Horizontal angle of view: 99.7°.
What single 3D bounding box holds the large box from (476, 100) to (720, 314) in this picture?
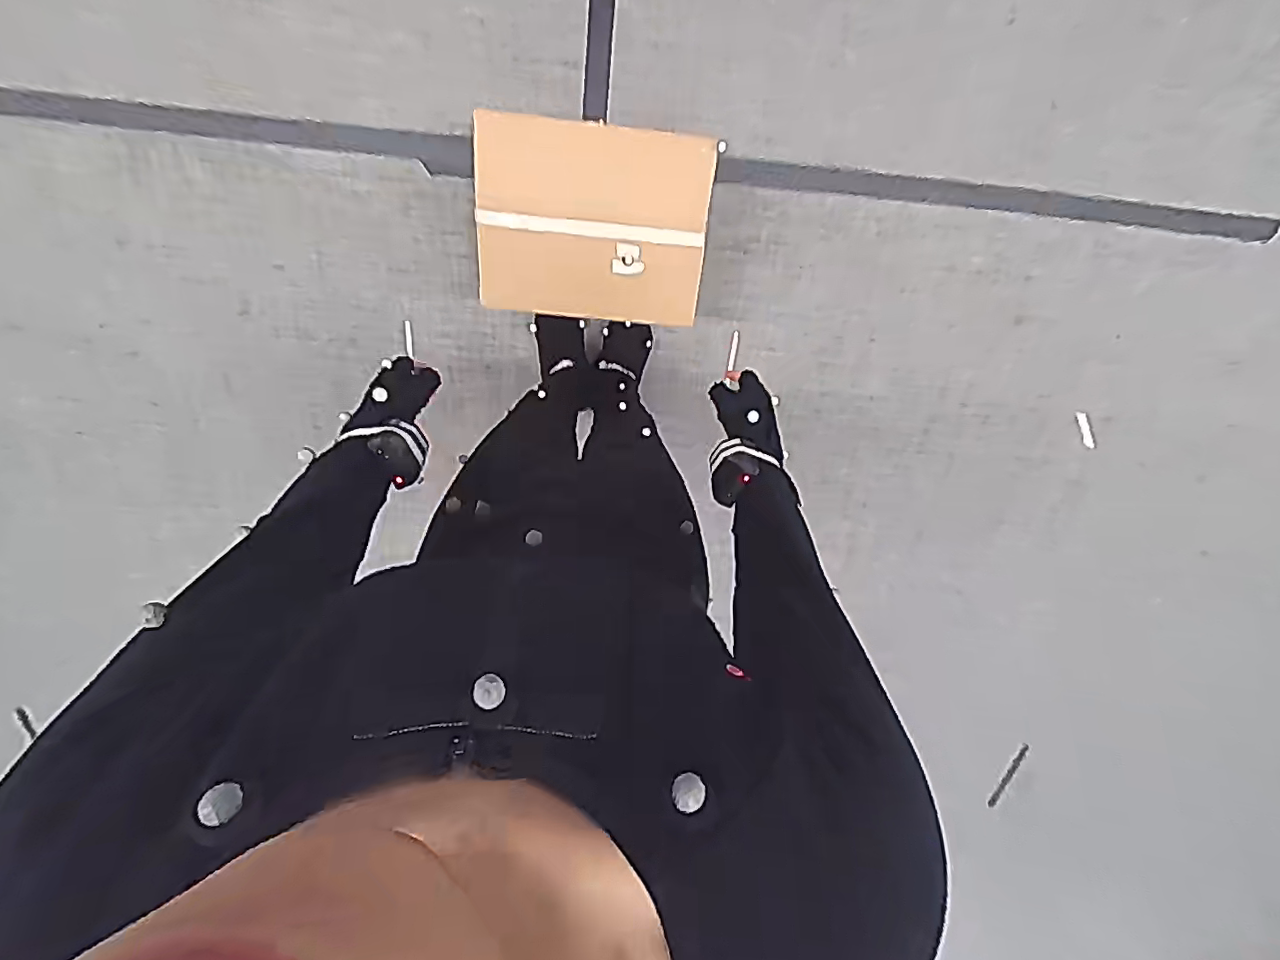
[{"bbox_3d":[-0.086,-0.530,1.076,0.408,0.320,0.320,4,119,-5],"label":"large box"}]
